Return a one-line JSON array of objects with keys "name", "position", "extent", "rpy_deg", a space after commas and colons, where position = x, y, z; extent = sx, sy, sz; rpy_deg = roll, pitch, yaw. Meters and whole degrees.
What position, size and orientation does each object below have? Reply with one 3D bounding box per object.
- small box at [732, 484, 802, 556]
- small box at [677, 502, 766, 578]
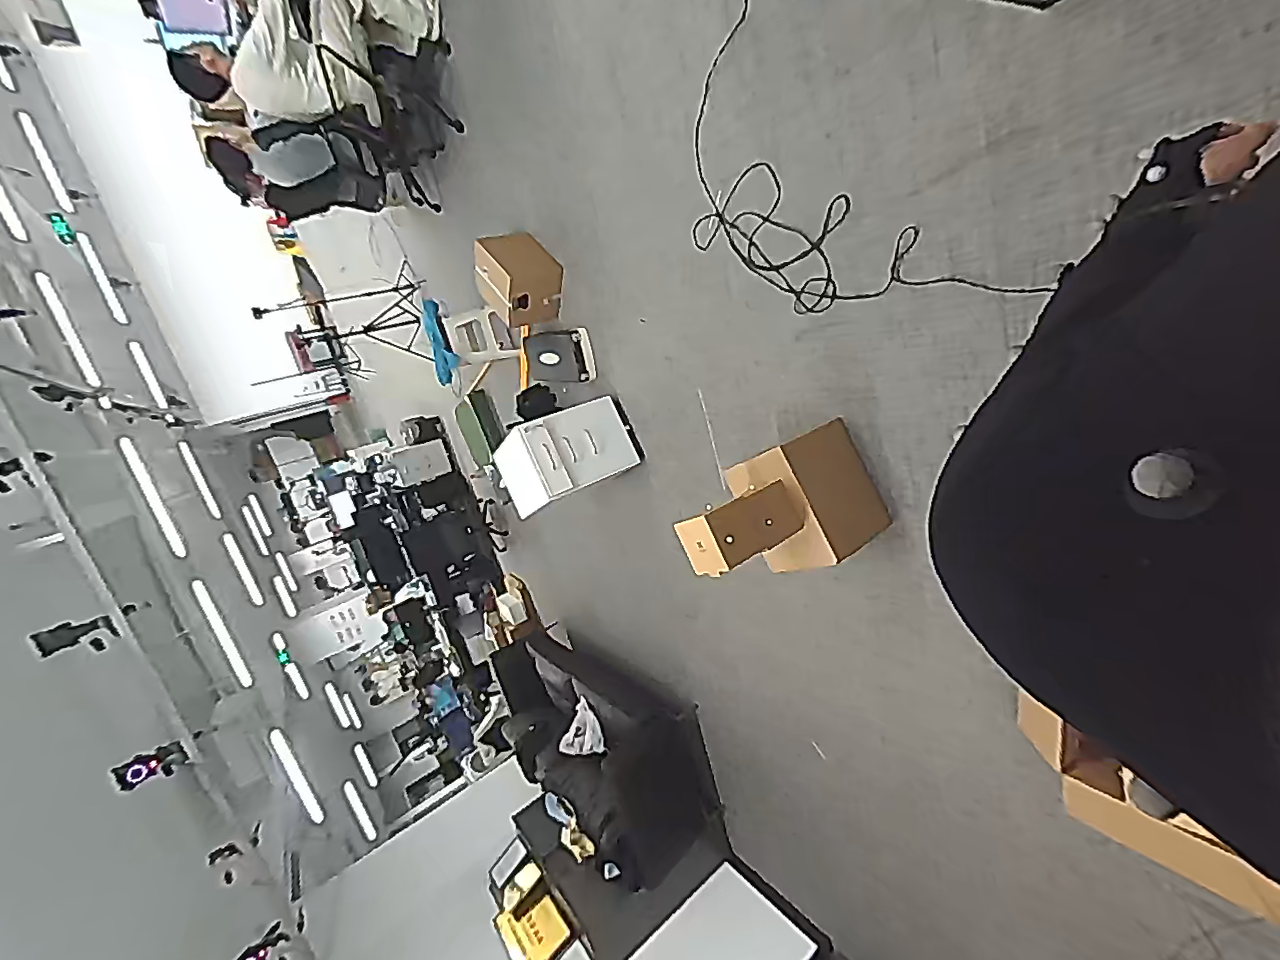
[{"name": "small box", "position": [0.381, 0.134, 1.723], "extent": [0.168, 0.176, 0.179], "rpy_deg": [-28, 86, 58]}, {"name": "small box", "position": [0.248, 0.176, 1.639], "extent": [0.168, 0.176, 0.179], "rpy_deg": [-27, 88, 58]}]
